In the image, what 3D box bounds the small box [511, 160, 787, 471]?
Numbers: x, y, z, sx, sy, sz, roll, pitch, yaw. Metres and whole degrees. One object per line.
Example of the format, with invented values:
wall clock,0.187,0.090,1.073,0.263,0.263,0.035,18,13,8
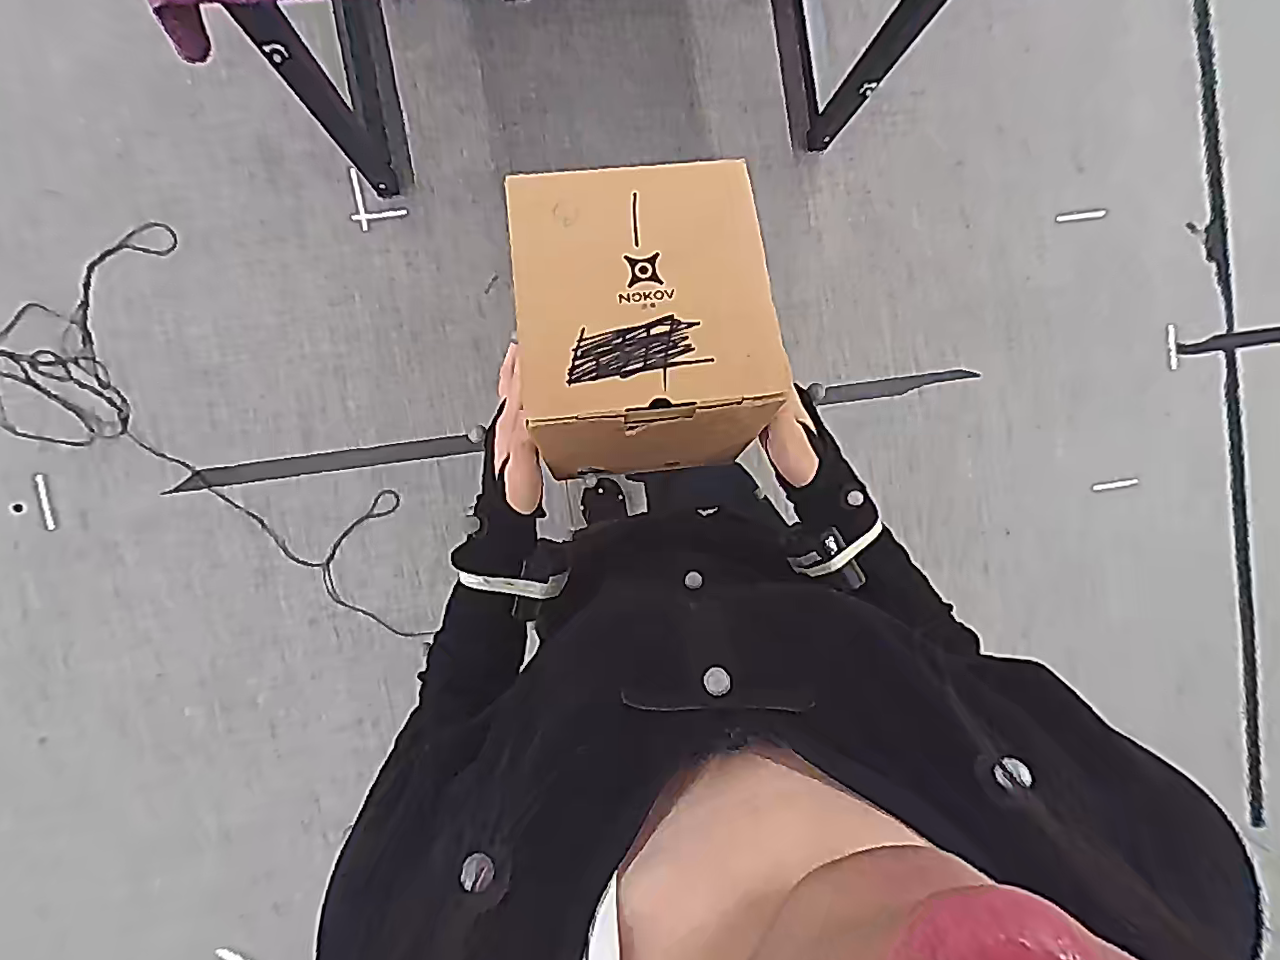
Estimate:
small box,0.001,-0.110,0.427,0.168,0.176,0.179,-7,77,-4
